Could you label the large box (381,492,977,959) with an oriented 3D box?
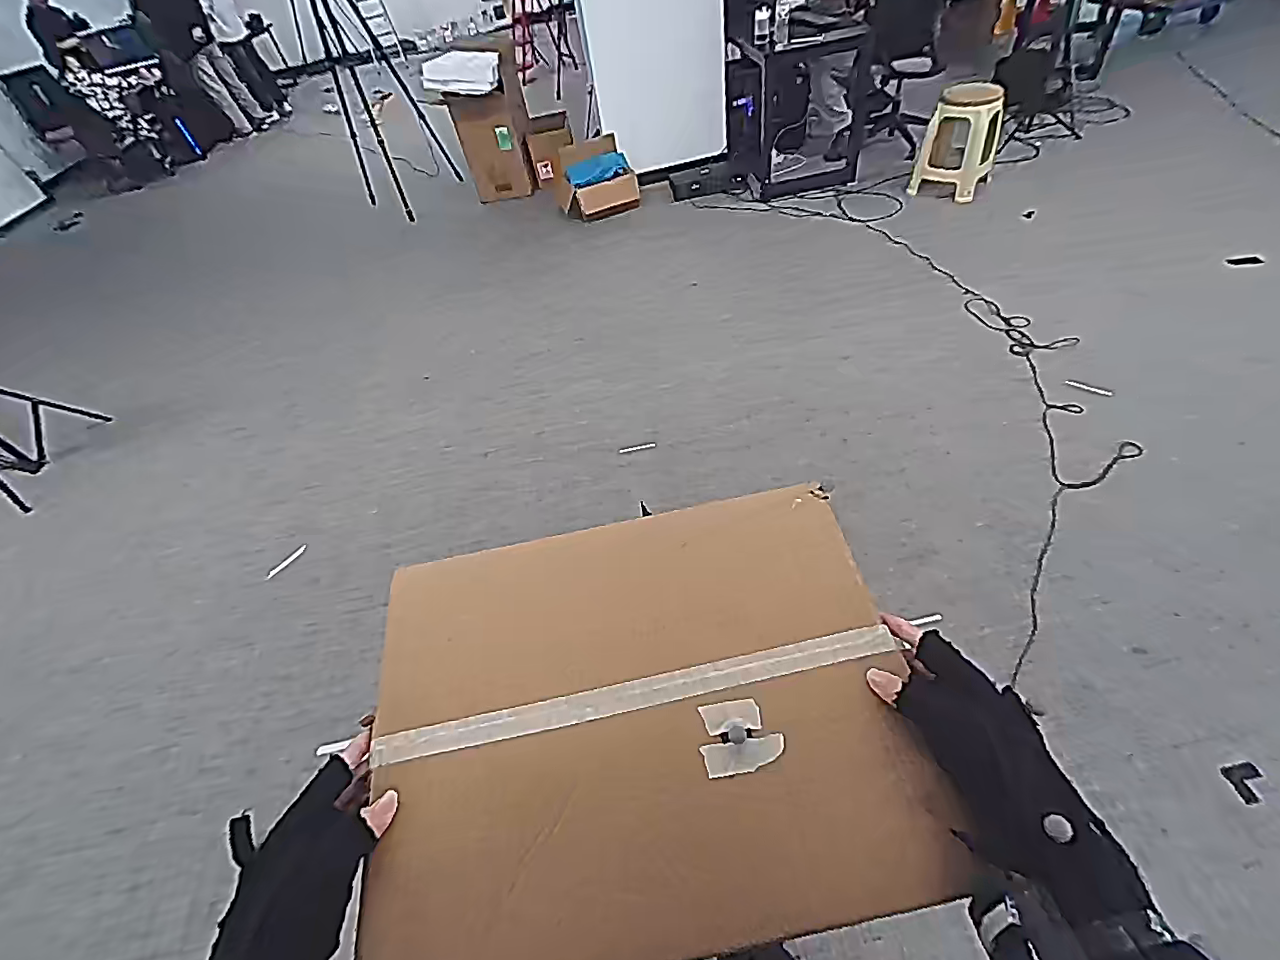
[{"bbox_3d":[0.015,0.260,0.551,0.408,0.320,0.320,-12,54,-2],"label":"large box"}]
